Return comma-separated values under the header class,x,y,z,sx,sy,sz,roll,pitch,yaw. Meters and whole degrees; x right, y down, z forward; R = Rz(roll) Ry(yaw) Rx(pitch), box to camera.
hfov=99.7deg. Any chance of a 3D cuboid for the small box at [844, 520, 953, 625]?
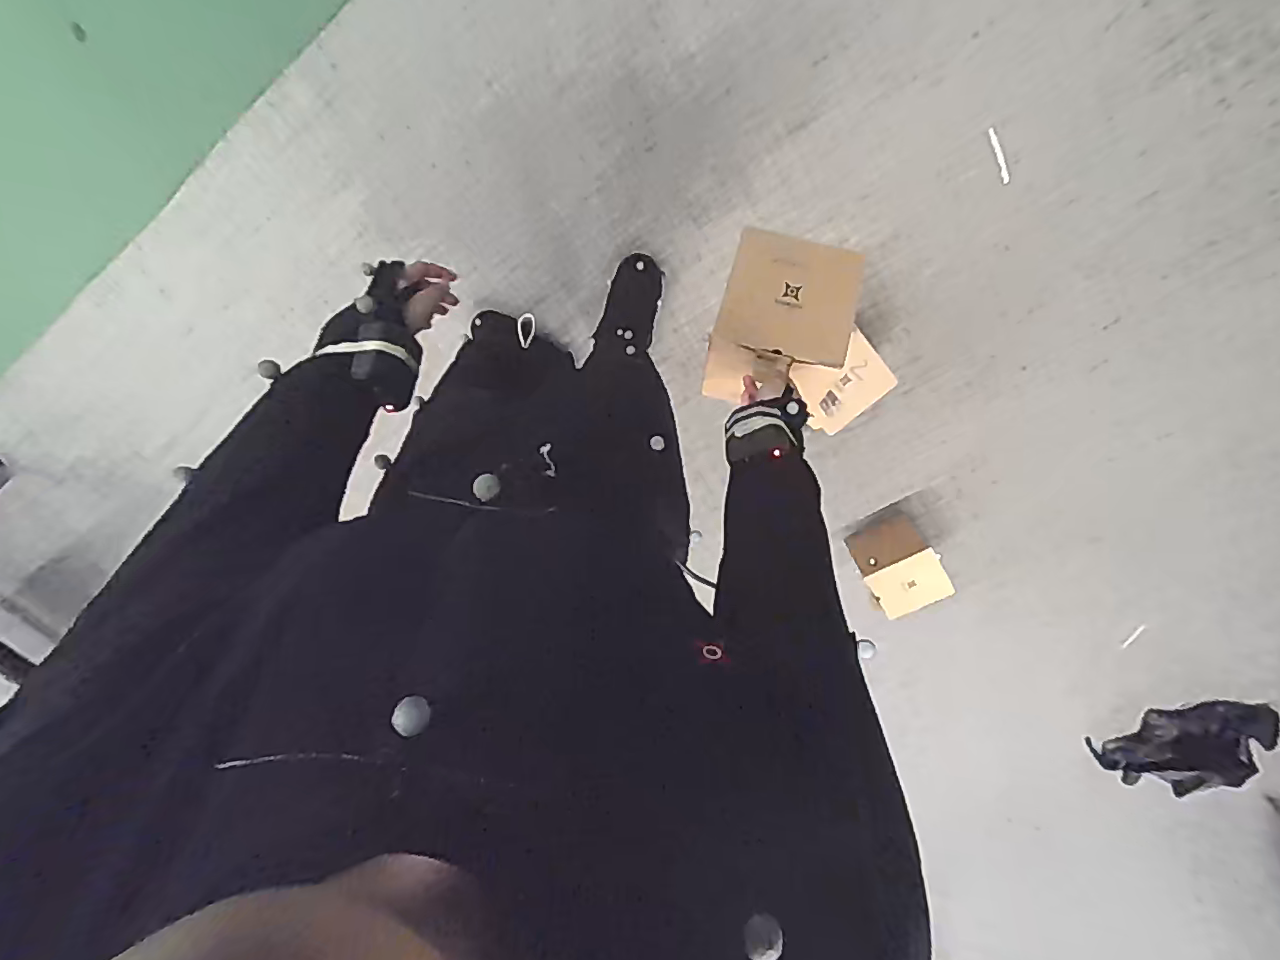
class,x,y,z,sx,sy,sz,roll,pitch,yaw
small box,0.660,0.233,1.399,0.179,0.176,0.168,-31,112,17
